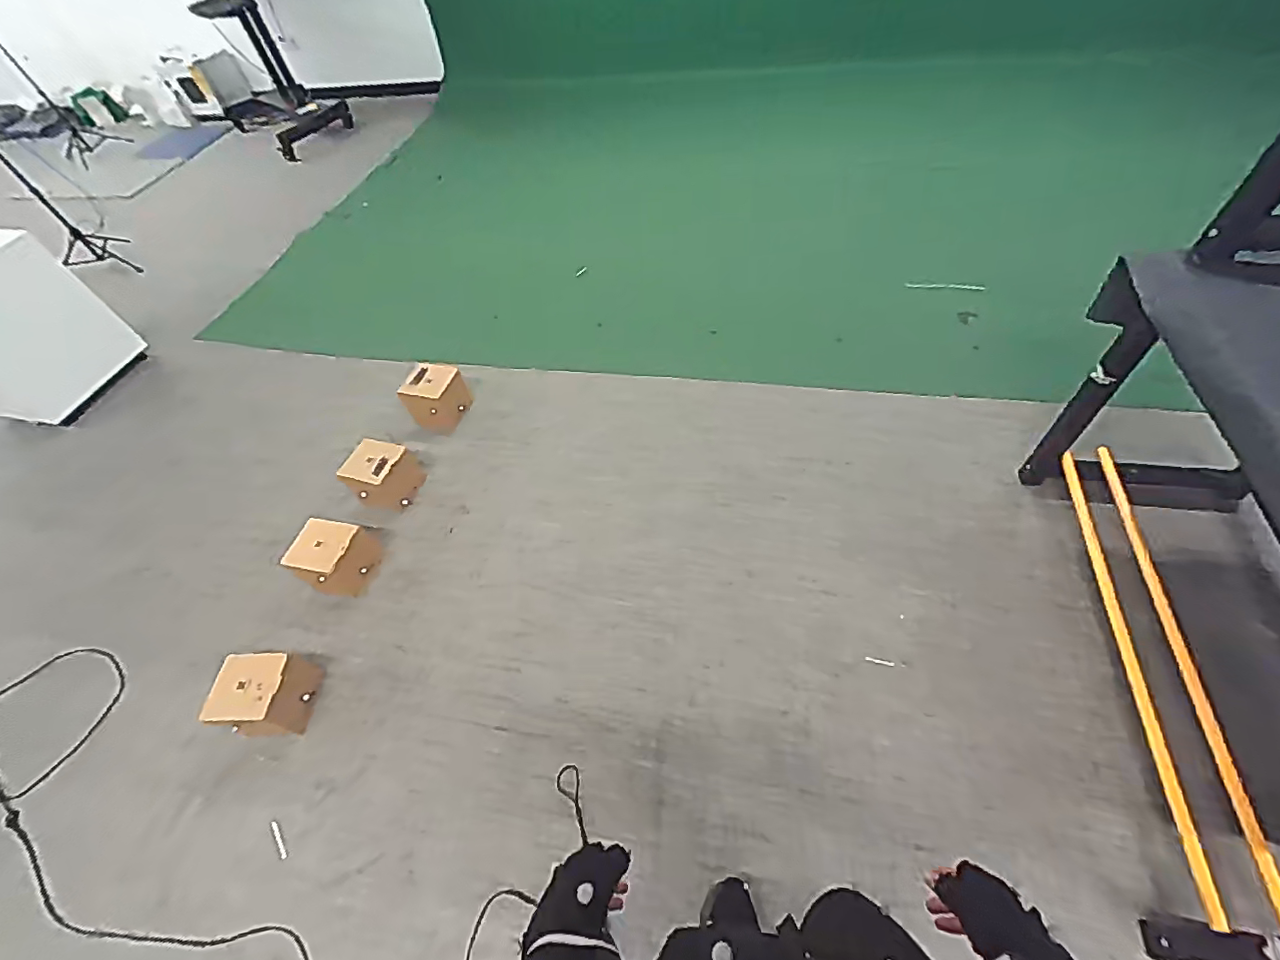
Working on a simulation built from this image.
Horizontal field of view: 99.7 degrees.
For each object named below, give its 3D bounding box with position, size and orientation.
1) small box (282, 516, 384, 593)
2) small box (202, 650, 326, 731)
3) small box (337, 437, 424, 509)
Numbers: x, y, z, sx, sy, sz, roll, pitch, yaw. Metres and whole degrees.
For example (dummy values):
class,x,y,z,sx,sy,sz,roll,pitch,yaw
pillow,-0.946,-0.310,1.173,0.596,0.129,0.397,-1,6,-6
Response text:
class,x,y,z,sx,sy,sz,roll,pitch,yaw
small box,-0.934,0.232,1.662,0.179,0.176,0.168,7,55,11
small box,-0.980,0.559,1.425,0.179,0.176,0.168,-3,54,5
small box,-0.873,-0.021,1.840,0.179,0.176,0.168,11,55,16
